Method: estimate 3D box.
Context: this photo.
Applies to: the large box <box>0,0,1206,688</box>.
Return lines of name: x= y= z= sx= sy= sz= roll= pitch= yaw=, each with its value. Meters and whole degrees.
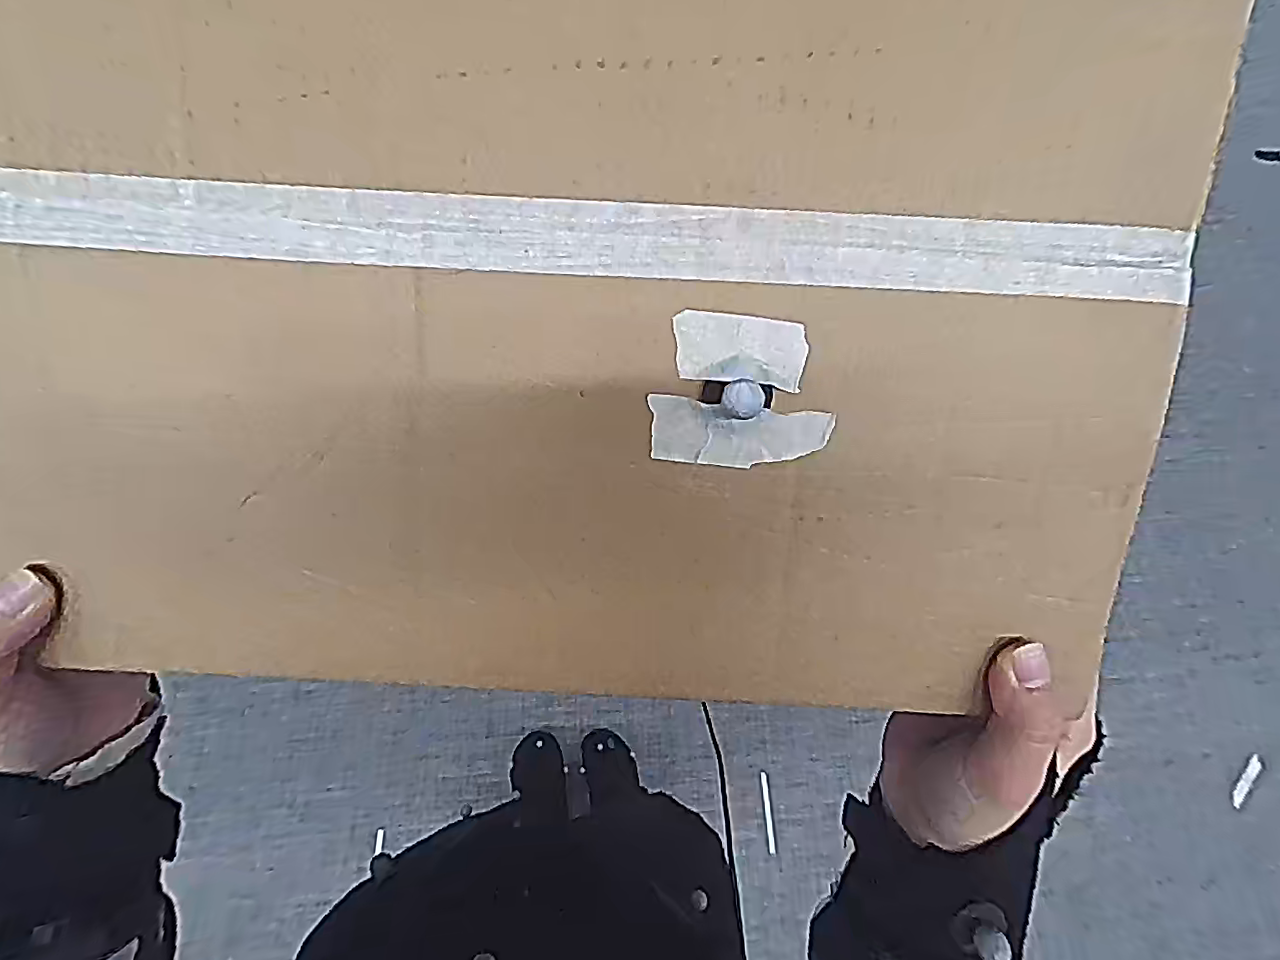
large box: x=-0.031 y=-0.101 z=0.327 sx=0.408 sy=0.320 sz=0.320 roll=3 pitch=101 yaw=-1
